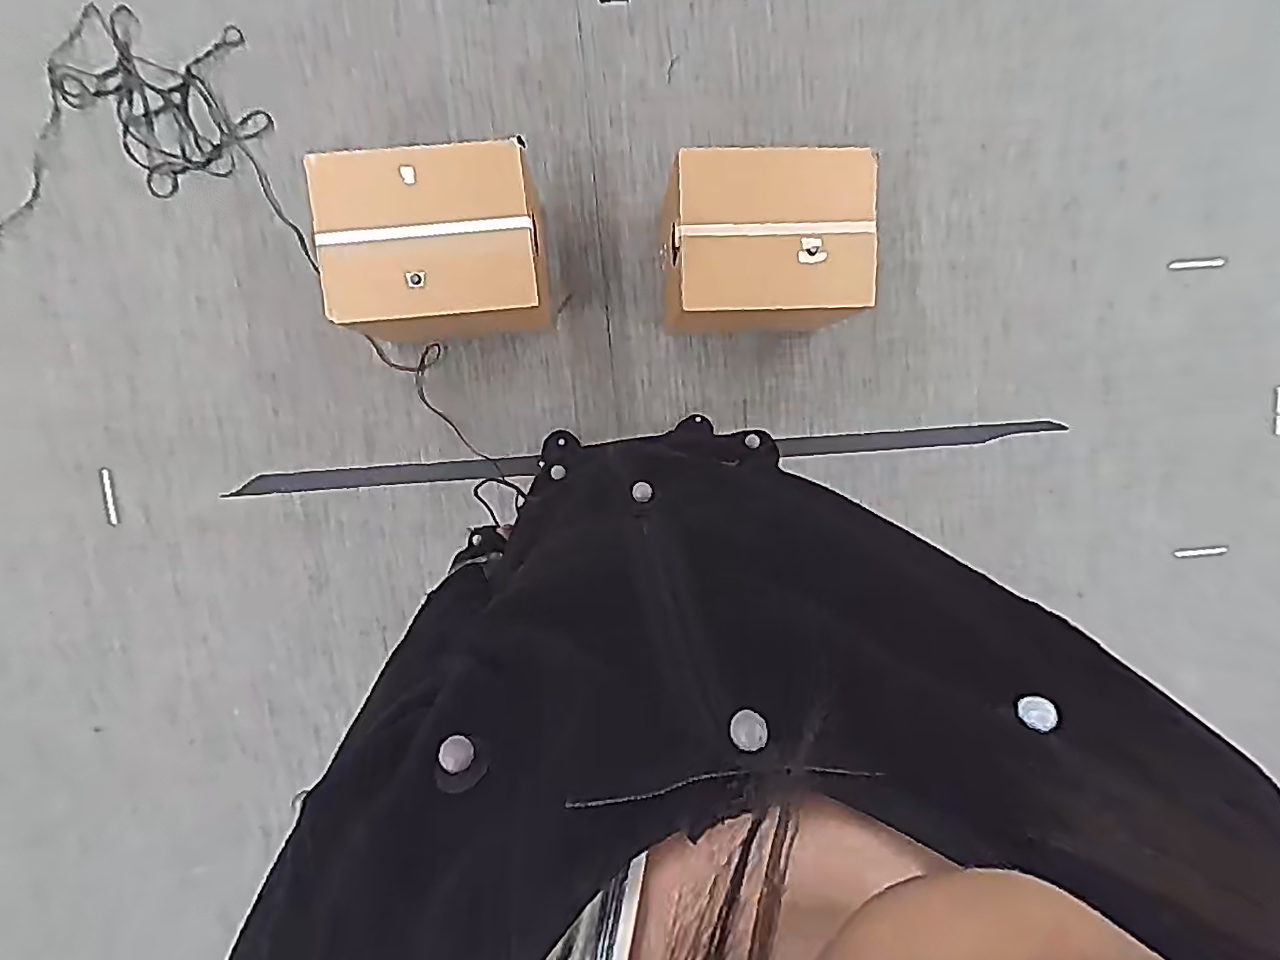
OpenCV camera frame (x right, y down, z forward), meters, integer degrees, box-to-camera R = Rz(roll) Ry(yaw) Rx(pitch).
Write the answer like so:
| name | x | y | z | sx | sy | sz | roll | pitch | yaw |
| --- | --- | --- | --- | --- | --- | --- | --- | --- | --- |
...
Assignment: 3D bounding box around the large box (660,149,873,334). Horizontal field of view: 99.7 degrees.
| name | x | y | z | sx | sy | sz | roll | pitch | yaw |
| --- | --- | --- | --- | --- | --- | --- | --- | --- | --- |
| large box | 0.267 | -0.523 | 1.243 | 0.408 | 0.320 | 0.320 | -2 | 97 | -5 |
